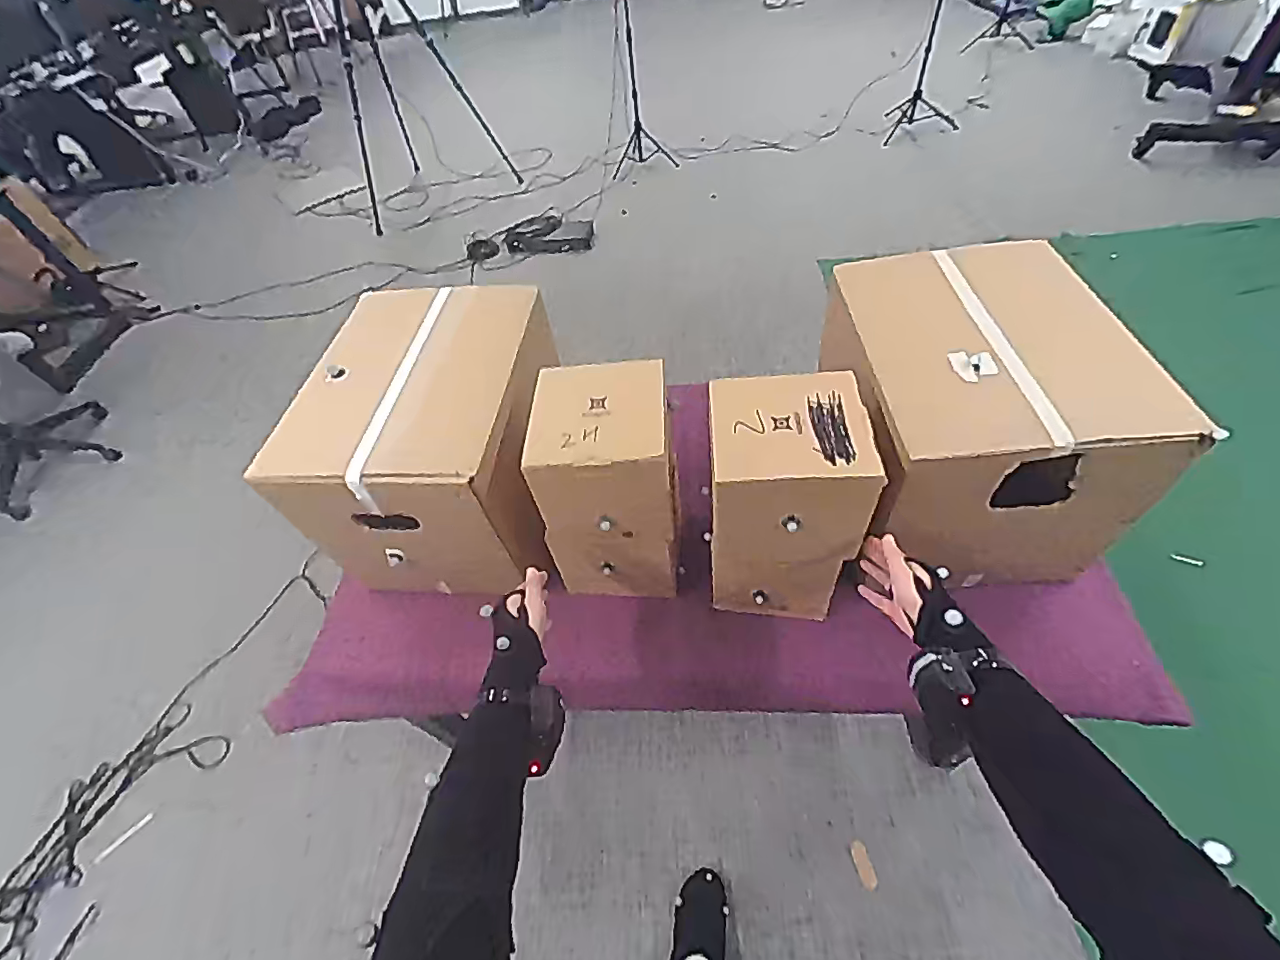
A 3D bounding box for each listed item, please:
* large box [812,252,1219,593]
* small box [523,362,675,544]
[{"bbox_3d":[0.469,-0.084,0.814,0.320,0.320,0.408,-5,51,7],"label":"large box"},{"bbox_3d":[-0.042,-0.033,0.720,0.168,0.176,0.179,-3,50,6],"label":"small box"}]
